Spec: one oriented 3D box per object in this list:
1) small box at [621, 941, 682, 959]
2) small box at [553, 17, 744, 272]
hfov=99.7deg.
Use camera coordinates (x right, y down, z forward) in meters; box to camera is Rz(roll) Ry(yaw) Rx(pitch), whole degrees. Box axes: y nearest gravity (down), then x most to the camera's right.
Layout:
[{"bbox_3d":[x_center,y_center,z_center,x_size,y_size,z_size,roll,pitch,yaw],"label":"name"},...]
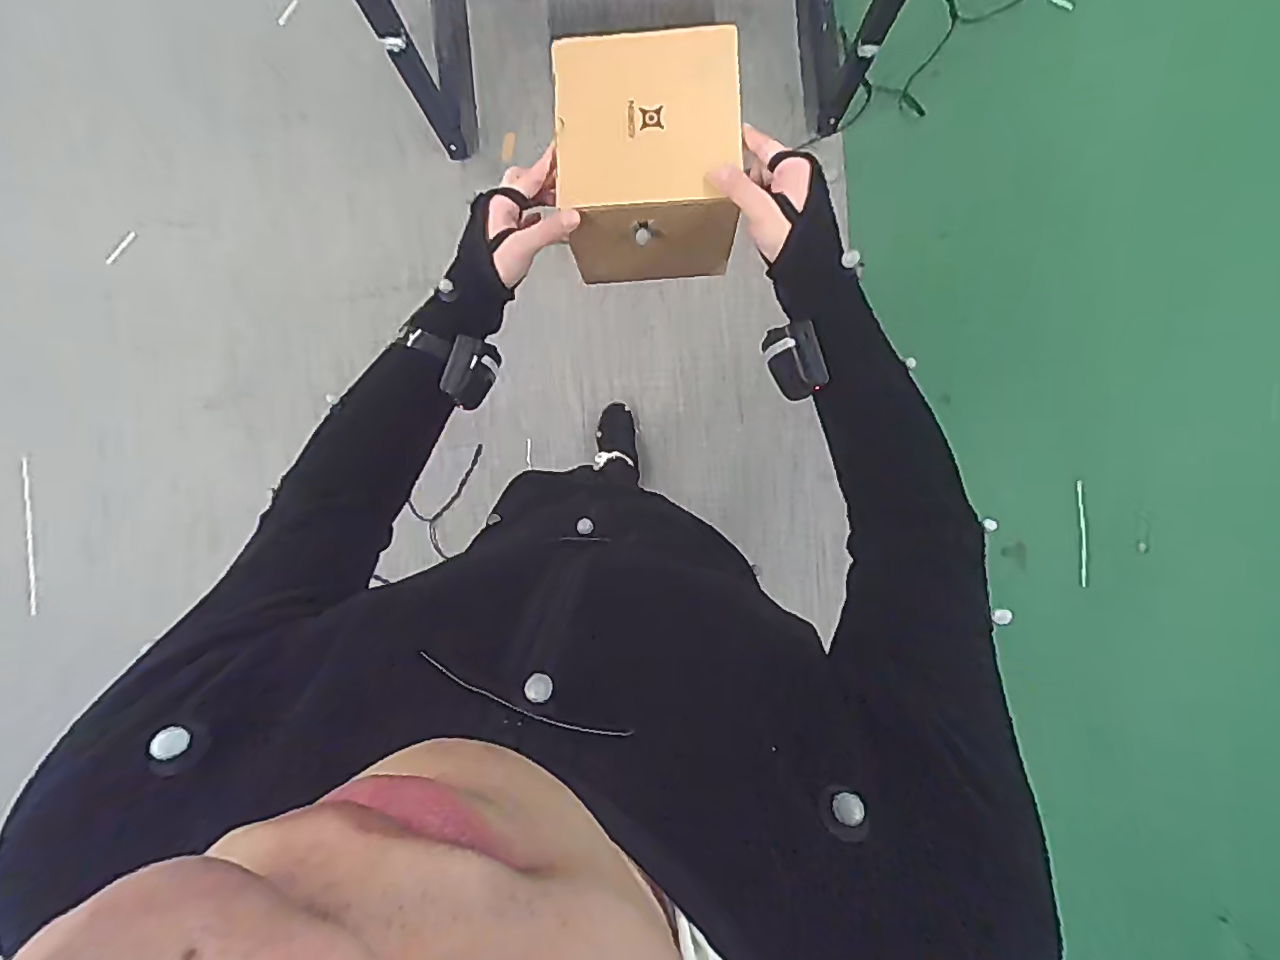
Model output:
[{"bbox_3d":[0.036,1.438,1.511,0.179,0.176,0.168,-4,88,1],"label":"small box"},{"bbox_3d":[0.010,-0.338,0.576,0.179,0.176,0.168,-2,87,4],"label":"small box"}]
